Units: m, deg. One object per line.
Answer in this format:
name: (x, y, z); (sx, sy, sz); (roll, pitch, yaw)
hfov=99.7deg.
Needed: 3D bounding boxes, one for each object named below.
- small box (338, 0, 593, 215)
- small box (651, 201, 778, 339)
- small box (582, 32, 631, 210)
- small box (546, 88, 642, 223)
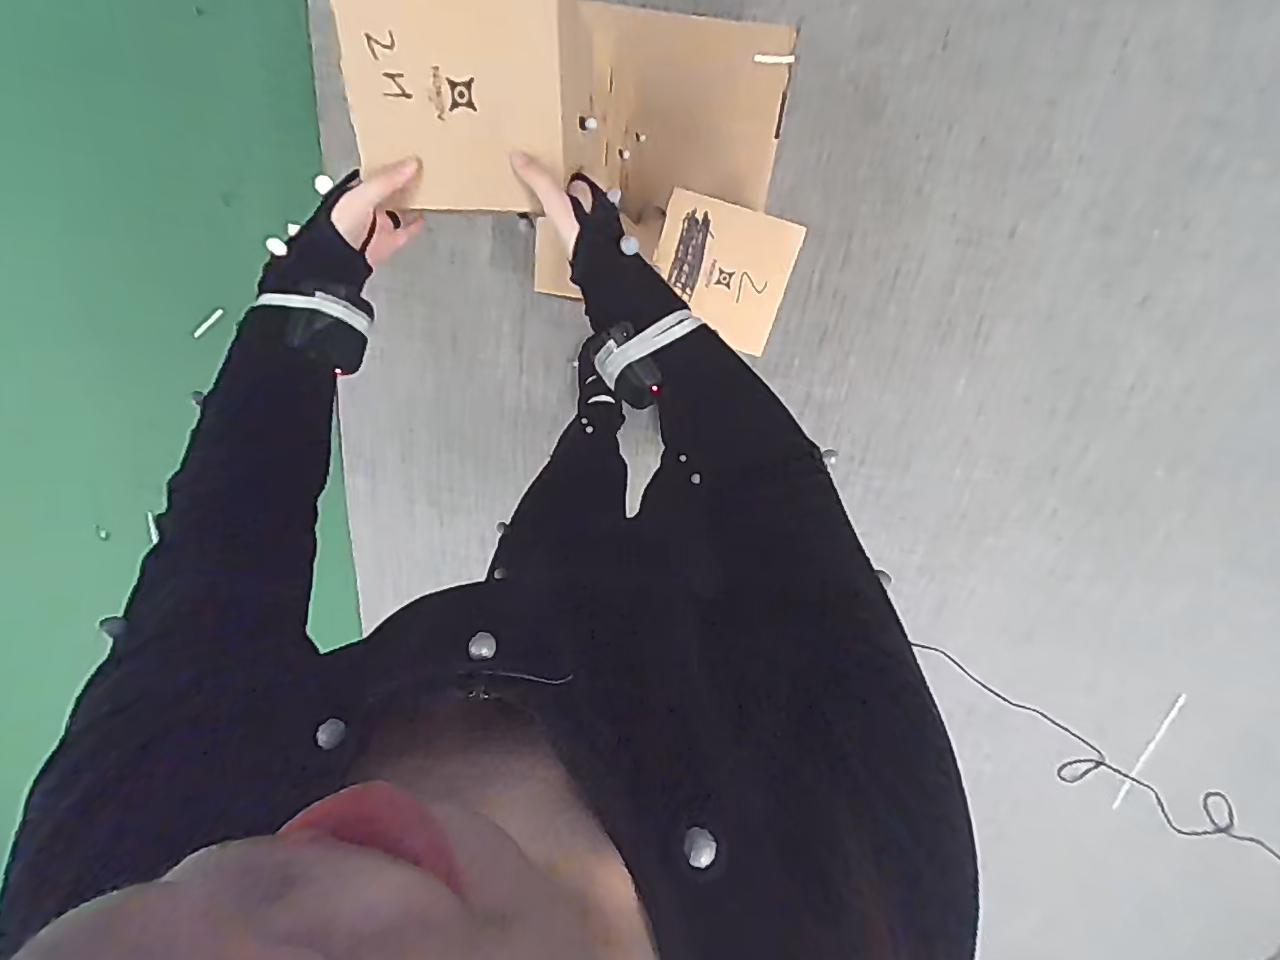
small box: (-0.140, -0.343, 0.501); (0.179, 0.176, 0.168); (5, 114, 3)
small box: (0.118, -0.350, 0.916); (0.168, 0.176, 0.179); (12, 111, 0)
small box: (-0.113, -0.467, 0.721); (0.179, 0.176, 0.168); (7, 110, 2)
small box: (-0.093, -0.519, 0.875); (0.179, 0.176, 0.168); (7, 110, 4)
